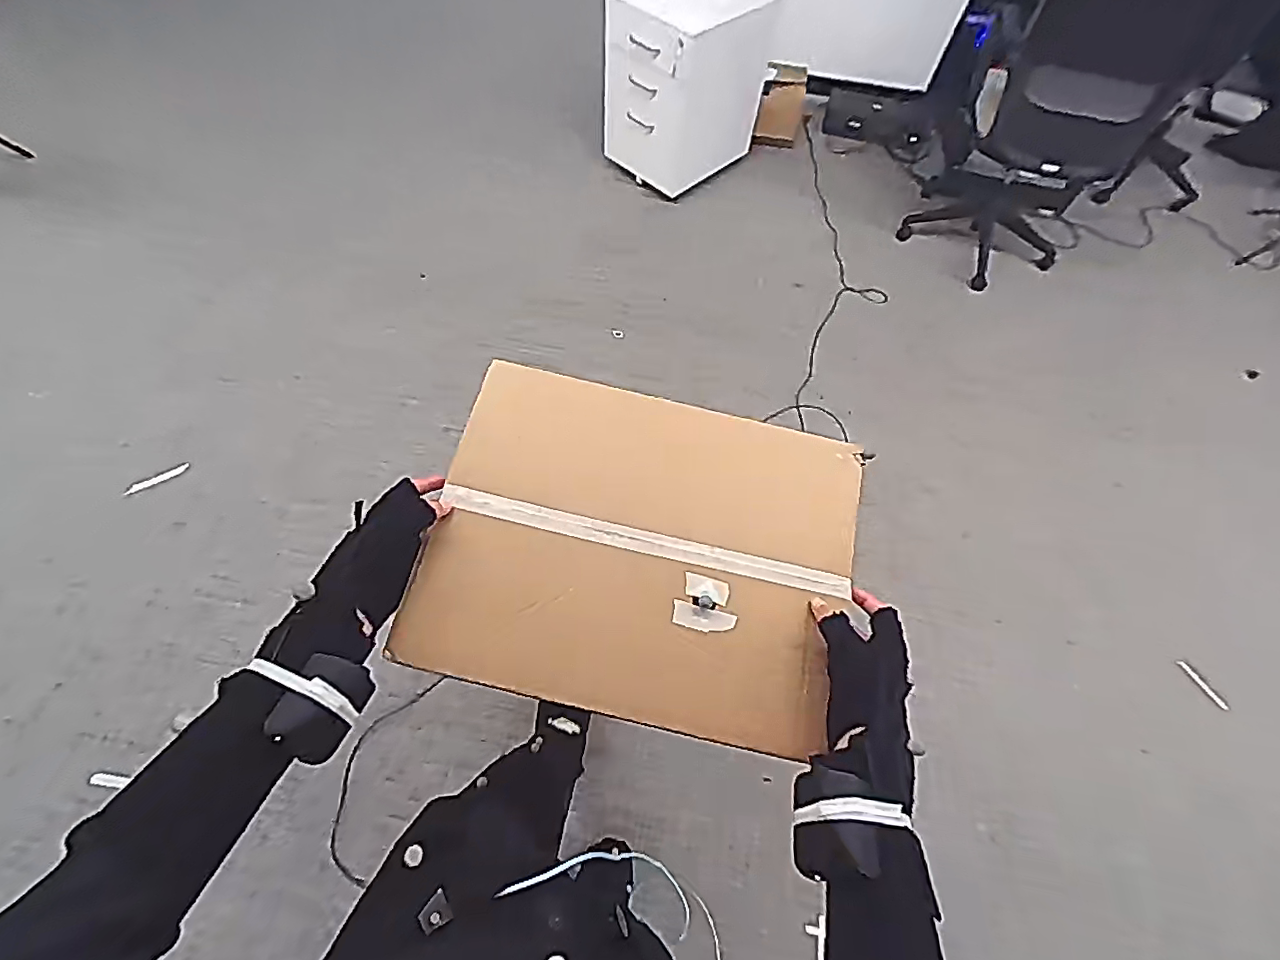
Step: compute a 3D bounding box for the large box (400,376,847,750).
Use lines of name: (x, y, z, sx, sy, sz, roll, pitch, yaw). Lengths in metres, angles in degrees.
large box: (-0.010, 0.116, 0.679, 0.408, 0.320, 0.320, 14, 70, 0)
